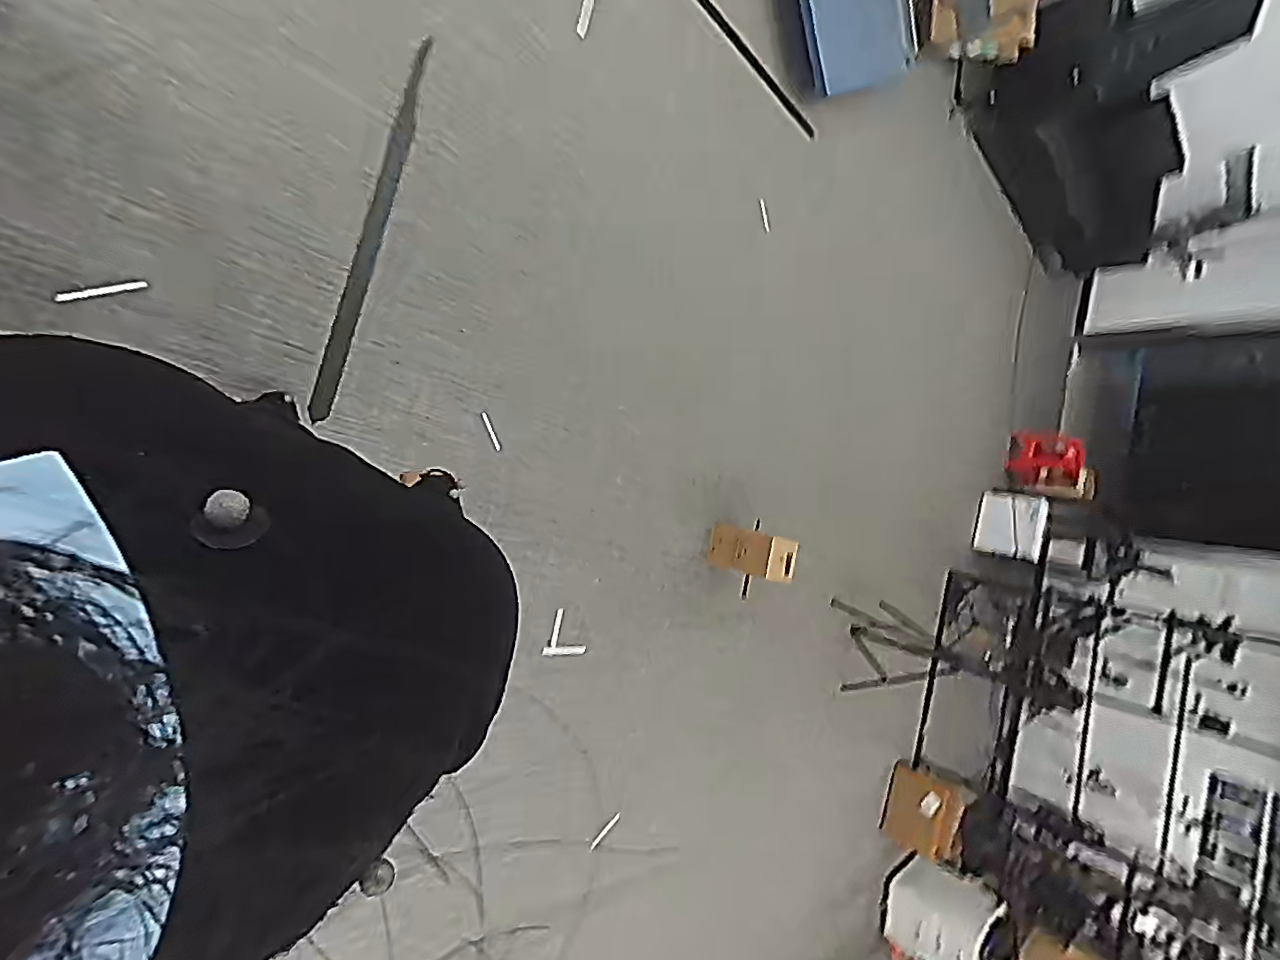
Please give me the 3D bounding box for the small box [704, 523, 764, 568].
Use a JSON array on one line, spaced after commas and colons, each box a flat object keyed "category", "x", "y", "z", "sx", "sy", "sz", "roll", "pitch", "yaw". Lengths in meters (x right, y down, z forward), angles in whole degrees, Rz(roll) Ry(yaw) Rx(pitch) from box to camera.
[{"category": "small box", "x": 0.401, "y": 0.278, "z": 2.303, "sx": 0.179, "sy": 0.176, "sz": 0.168, "roll": 9, "pitch": 89, "yaw": -41}]
